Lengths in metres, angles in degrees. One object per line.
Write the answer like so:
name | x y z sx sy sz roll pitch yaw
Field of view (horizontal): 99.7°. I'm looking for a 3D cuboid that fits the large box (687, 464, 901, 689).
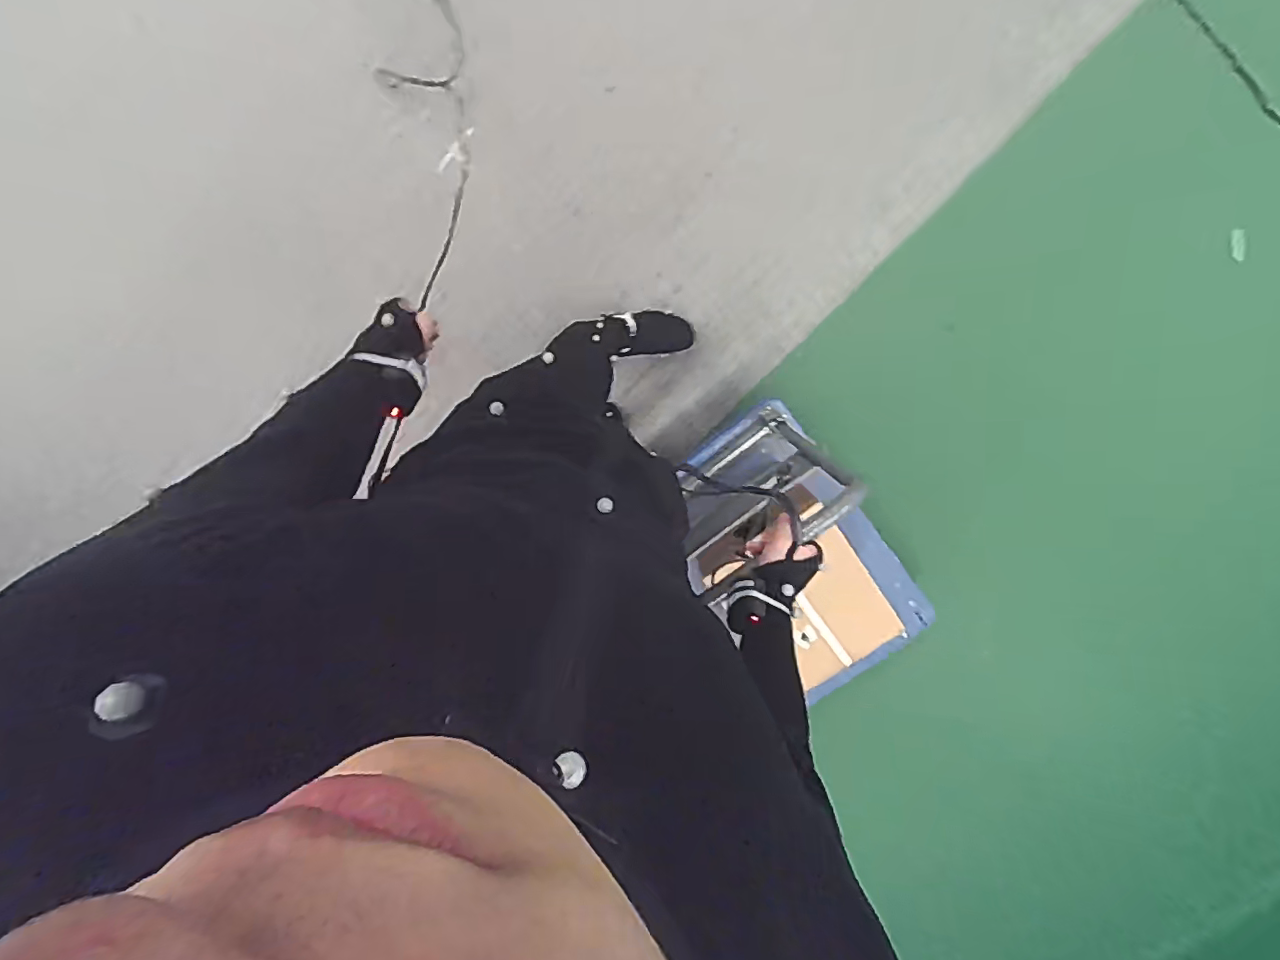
large box | 0.370 0.230 1.381 0.320 0.320 0.408 -35 106 9
